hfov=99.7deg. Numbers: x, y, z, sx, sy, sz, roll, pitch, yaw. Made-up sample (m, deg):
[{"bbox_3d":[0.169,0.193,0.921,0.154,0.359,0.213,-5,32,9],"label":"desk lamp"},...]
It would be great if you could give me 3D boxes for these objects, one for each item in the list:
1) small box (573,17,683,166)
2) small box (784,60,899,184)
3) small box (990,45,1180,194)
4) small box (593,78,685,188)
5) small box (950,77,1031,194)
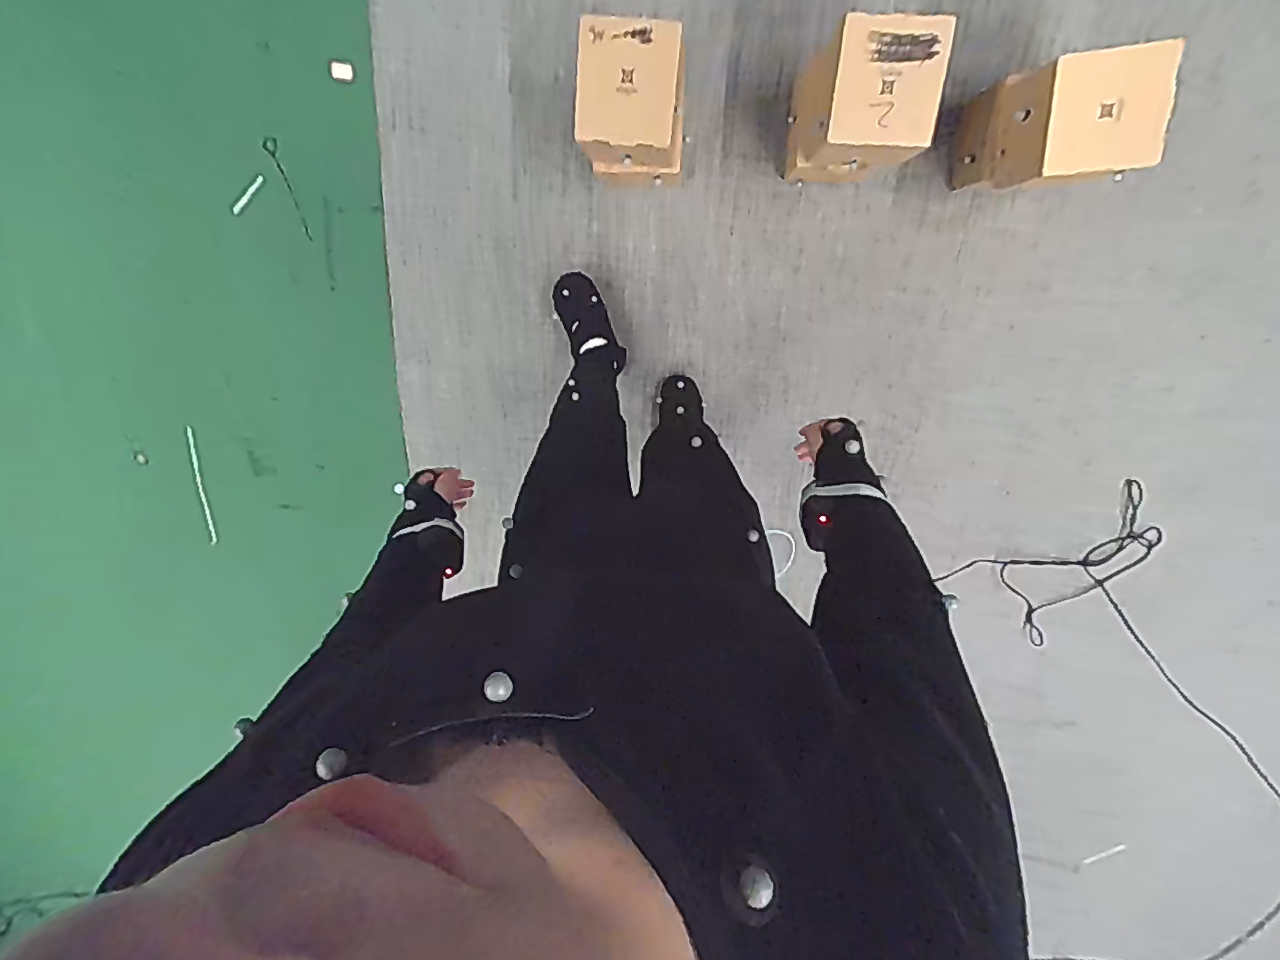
[{"bbox_3d":[-0.016,-0.673,0.958,0.168,0.176,0.179,8,111,3],"label":"small box"},{"bbox_3d":[0.389,-0.702,1.078,0.168,0.176,0.179,4,110,4],"label":"small box"},{"bbox_3d":[0.726,-0.591,0.909,0.179,0.176,0.168,-3,110,7],"label":"small box"},{"bbox_3d":[0.002,-0.712,1.118,0.179,0.176,0.168,4,110,5],"label":"small box"},{"bbox_3d":[0.740,-0.662,1.055,0.179,0.176,0.168,2,111,5],"label":"small box"}]
